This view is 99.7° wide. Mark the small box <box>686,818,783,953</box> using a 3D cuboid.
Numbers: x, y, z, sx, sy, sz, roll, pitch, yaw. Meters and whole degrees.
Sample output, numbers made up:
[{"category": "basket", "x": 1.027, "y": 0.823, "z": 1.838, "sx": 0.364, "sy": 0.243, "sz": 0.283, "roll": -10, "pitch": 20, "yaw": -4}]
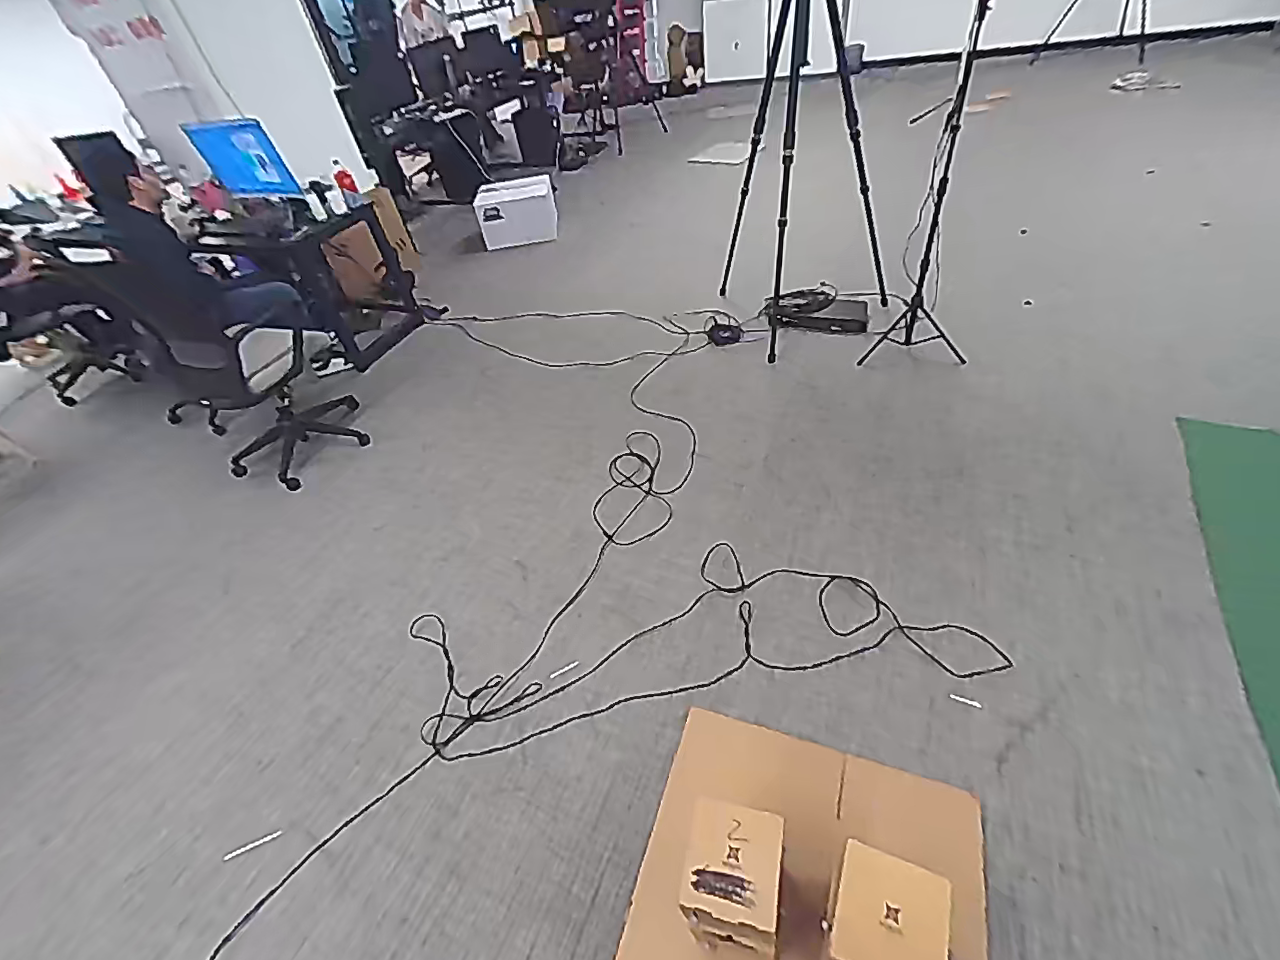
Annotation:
[{"category": "small box", "x": 0.202, "y": 0.837, "z": 1.115, "sx": 0.168, "sy": 0.176, "sz": 0.179, "roll": 6, "pitch": 46, "yaw": 18}]

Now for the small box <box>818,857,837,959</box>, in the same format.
[{"category": "small box", "x": 0.438, "y": 0.869, "z": 1.035, "sx": 0.168, "sy": 0.176, "sz": 0.179, "roll": 8, "pitch": 48, "yaw": 22}]

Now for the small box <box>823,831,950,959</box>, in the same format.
[{"category": "small box", "x": 0.417, "y": 0.750, "z": 0.927, "sx": 0.168, "sy": 0.176, "sz": 0.179, "roll": 11, "pitch": 49, "yaw": 23}]
